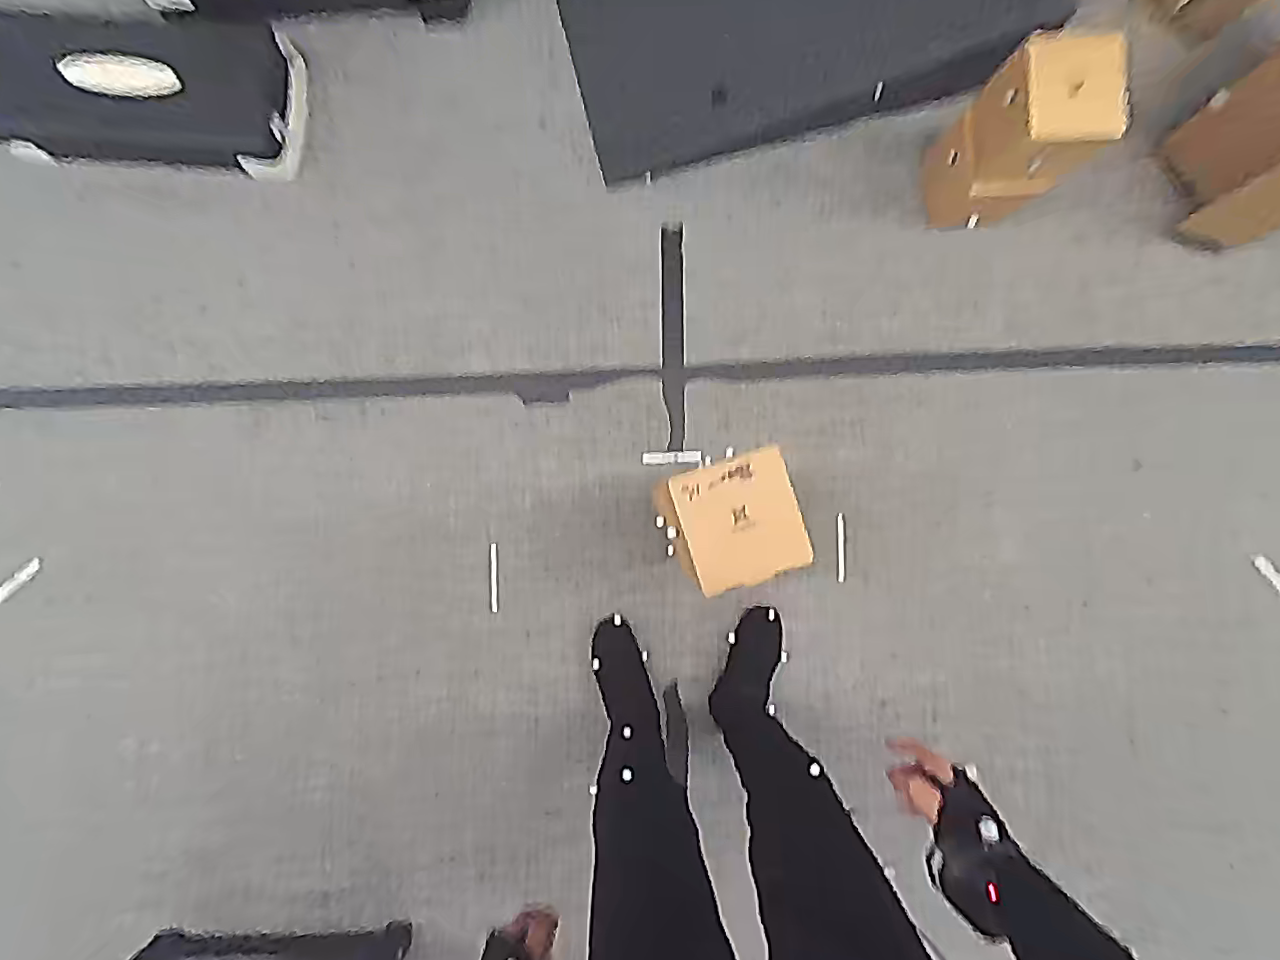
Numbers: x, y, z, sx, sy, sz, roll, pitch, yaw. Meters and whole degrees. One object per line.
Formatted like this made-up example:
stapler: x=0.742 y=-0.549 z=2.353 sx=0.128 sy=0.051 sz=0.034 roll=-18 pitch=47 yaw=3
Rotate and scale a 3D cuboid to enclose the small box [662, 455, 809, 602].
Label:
small box: x=0.138 y=0.067 z=0.844 sx=0.168 sy=0.176 sz=0.179 roll=-18 pitch=90 yaw=-1
